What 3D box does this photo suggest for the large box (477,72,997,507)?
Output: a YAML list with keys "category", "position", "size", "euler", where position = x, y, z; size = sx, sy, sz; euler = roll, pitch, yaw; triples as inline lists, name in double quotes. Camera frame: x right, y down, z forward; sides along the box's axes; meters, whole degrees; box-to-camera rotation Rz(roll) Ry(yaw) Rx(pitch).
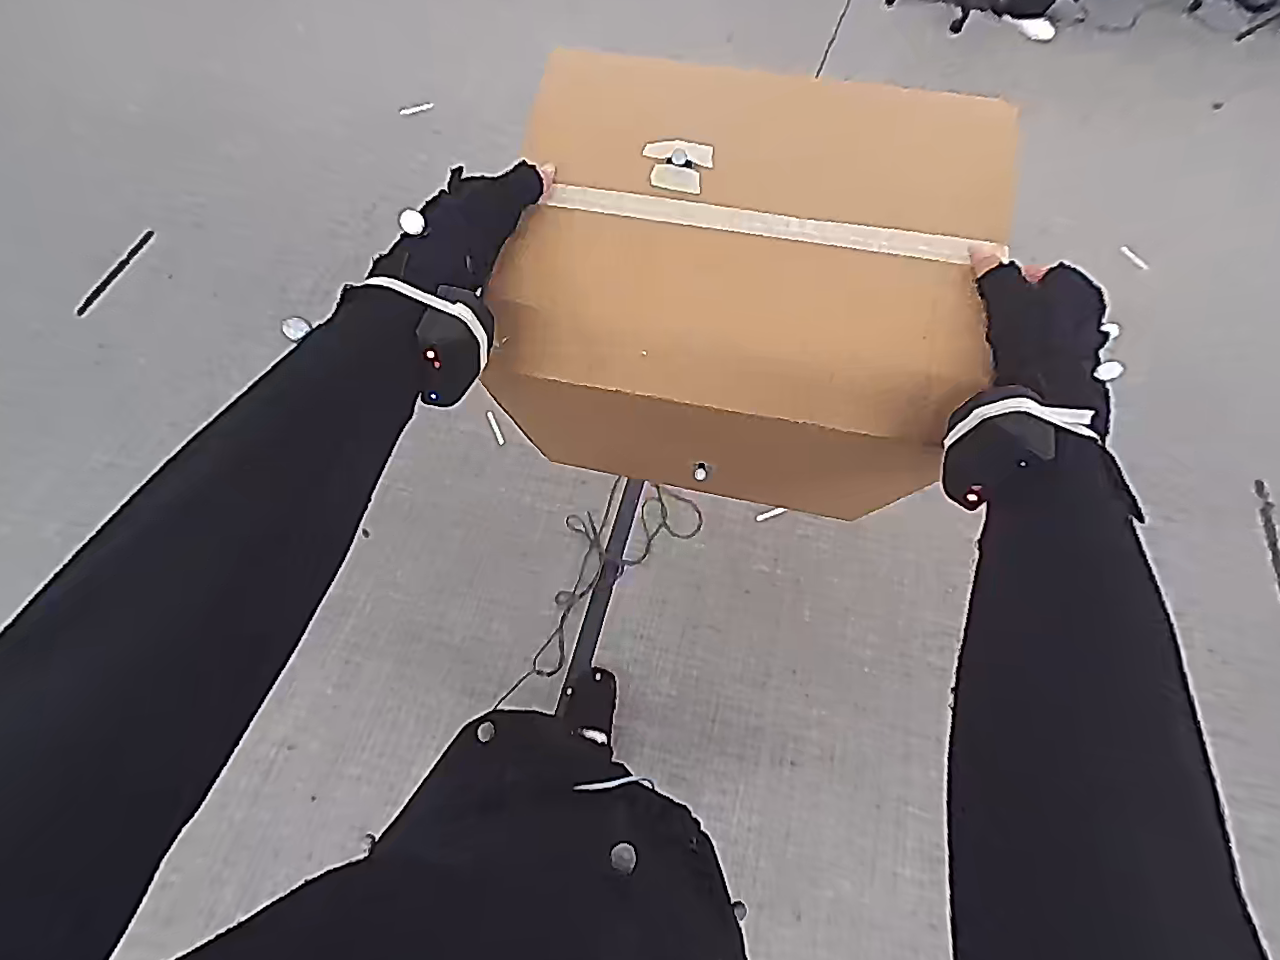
- category: "large box"
  position: [0.099, -0.173, 0.602]
  size: [0.408, 0.320, 0.320]
  euler: [11, 77, 7]
